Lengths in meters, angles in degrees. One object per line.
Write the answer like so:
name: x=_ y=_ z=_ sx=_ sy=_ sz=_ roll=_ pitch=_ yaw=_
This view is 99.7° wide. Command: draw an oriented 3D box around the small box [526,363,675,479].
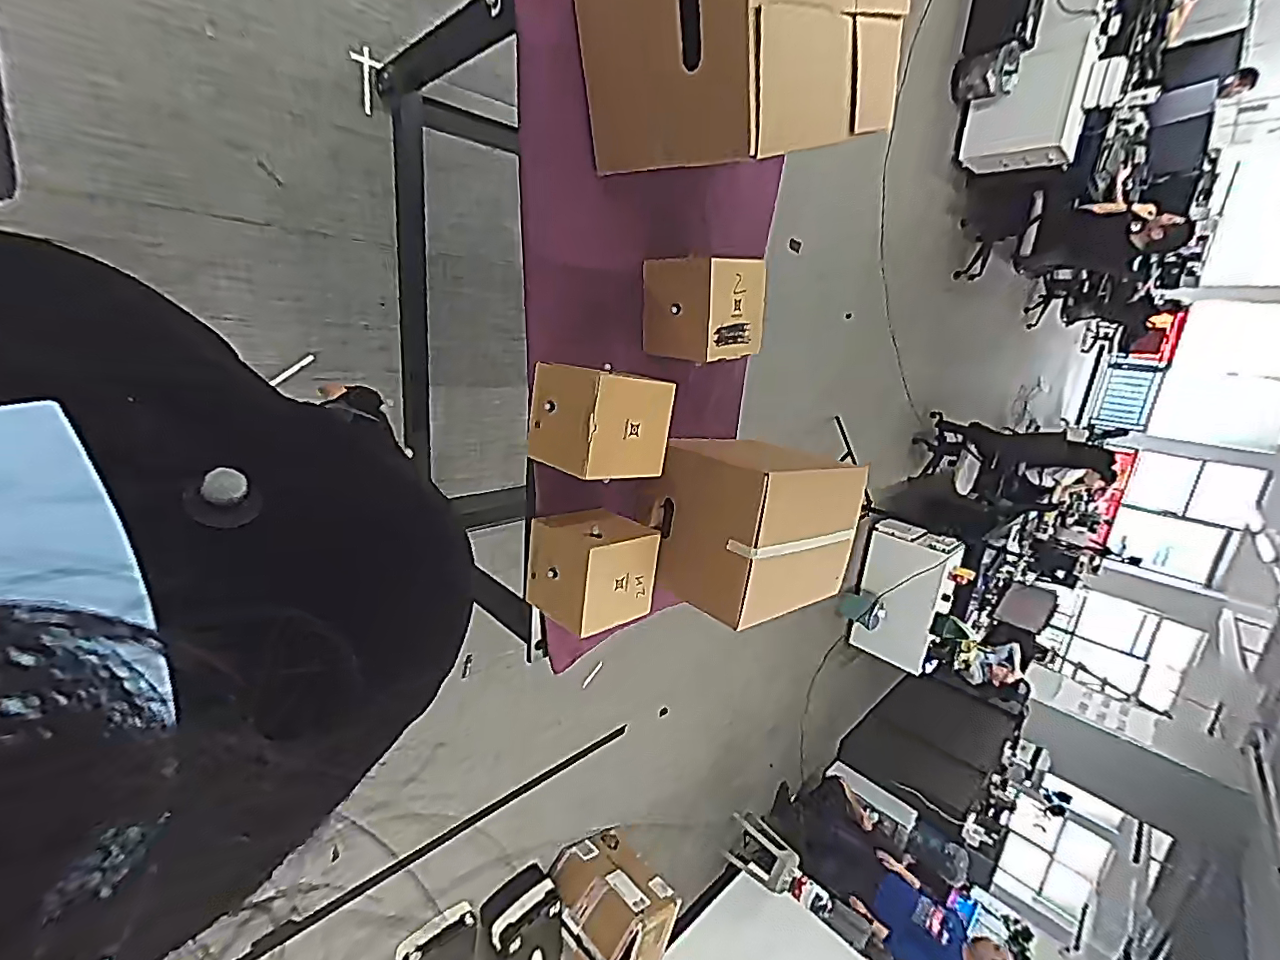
small box: x=-0.069 y=-0.103 z=0.928 sx=0.179 sy=0.176 sz=0.168 roll=-3 pitch=107 yaw=-45

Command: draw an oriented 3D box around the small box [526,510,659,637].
small box: x=-0.092 y=0.162 z=1.001 sx=0.179 sy=0.176 sz=0.168 roll=-6 pitch=109 yaw=-47
